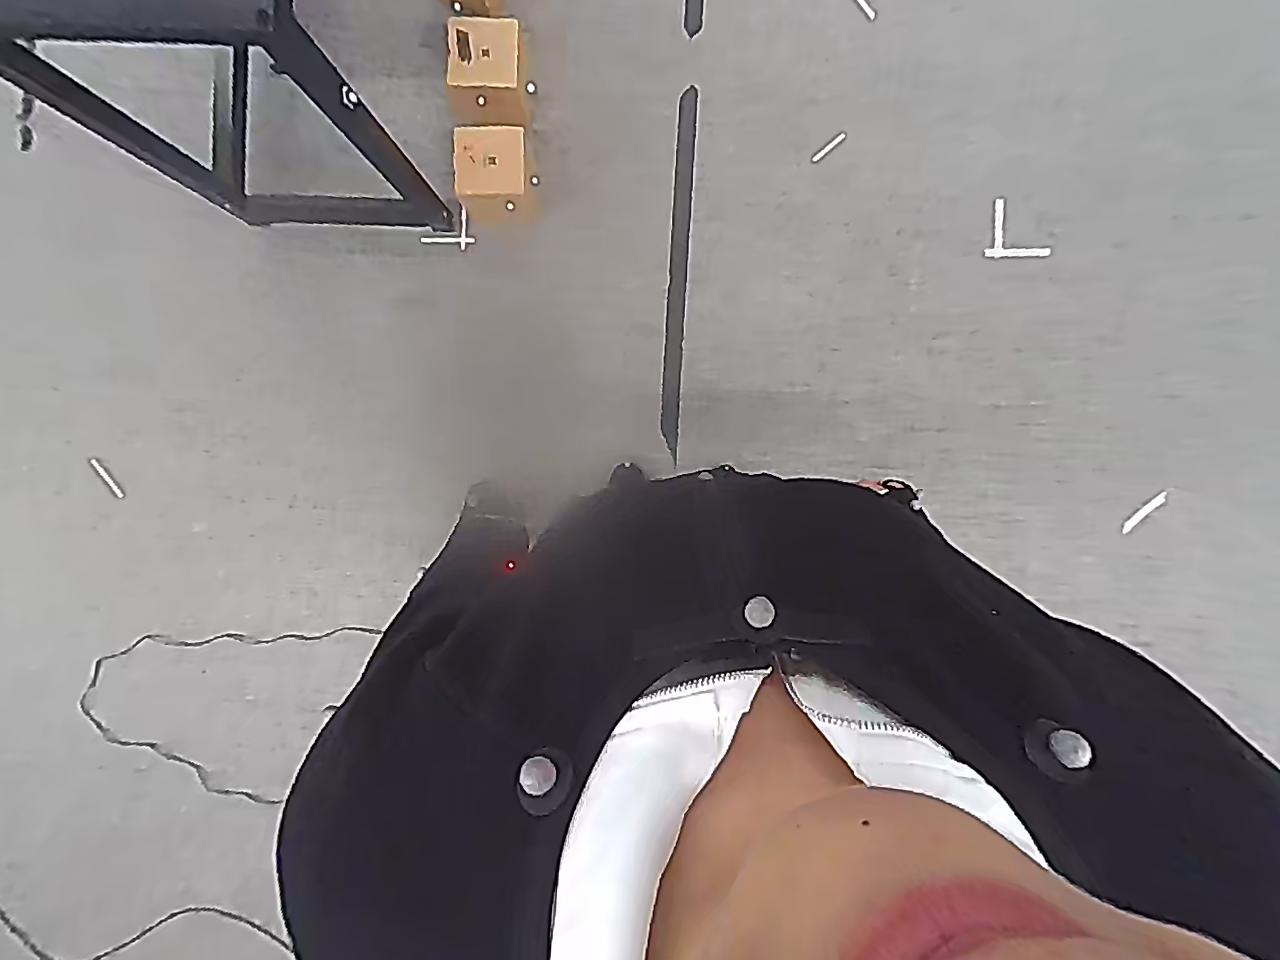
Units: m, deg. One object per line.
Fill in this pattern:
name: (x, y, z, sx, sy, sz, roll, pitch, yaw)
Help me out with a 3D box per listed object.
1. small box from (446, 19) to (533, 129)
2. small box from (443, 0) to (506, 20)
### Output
small box: (-0.386, -1.046, 1.405, 0.179, 0.176, 0.168, 2, 92, 0)
small box: (-0.439, -1.343, 1.397, 0.168, 0.176, 0.179, 24, 94, 1)
